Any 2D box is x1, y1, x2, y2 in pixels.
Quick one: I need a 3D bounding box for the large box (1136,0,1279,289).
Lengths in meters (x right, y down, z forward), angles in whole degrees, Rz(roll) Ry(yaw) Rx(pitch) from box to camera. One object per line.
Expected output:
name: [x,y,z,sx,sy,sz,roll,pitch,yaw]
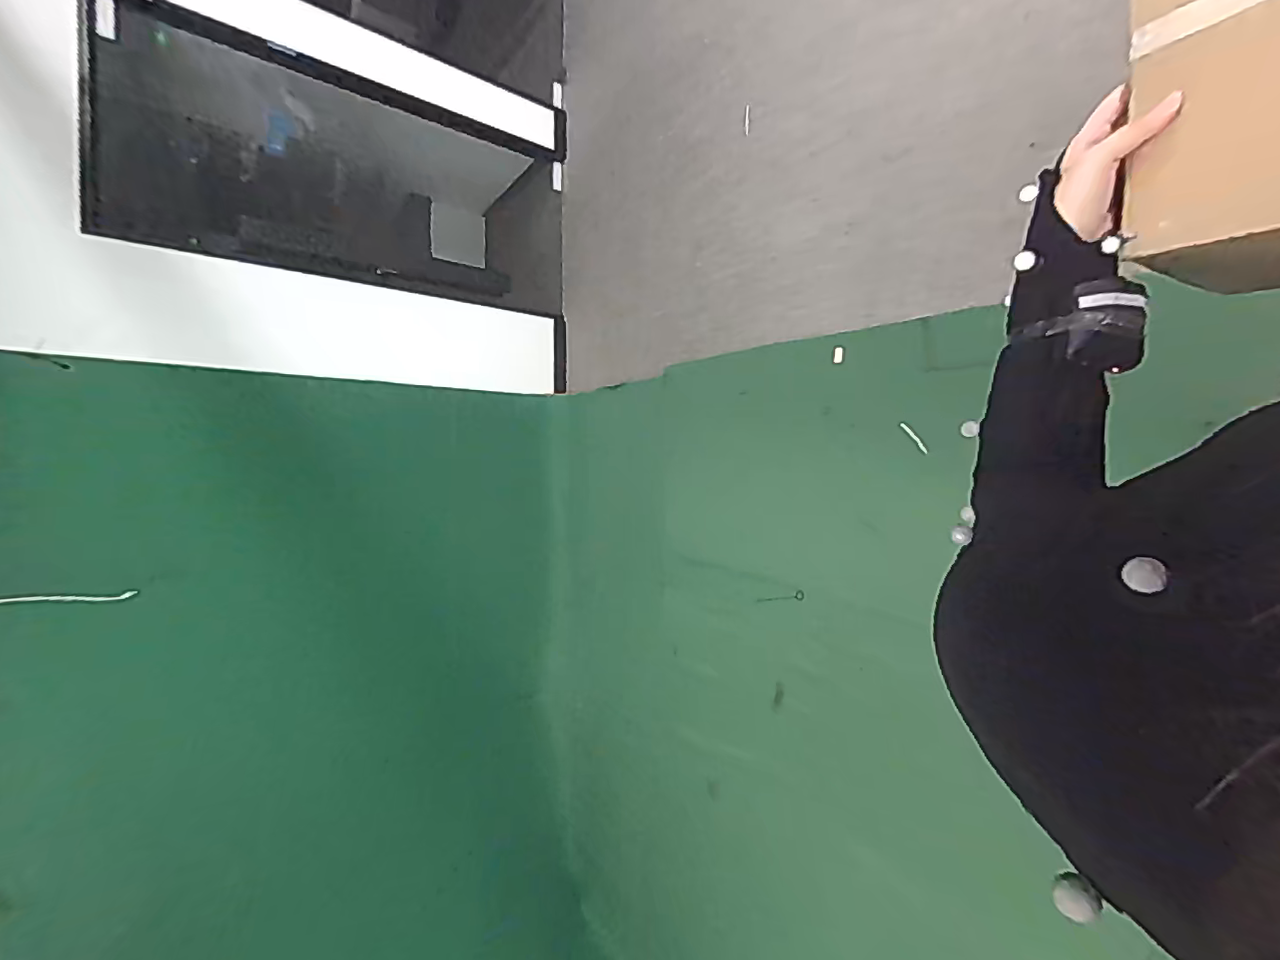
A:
large box: [0.630,-0.329,0.334,0.408,0.320,0.320,8,101,58]
